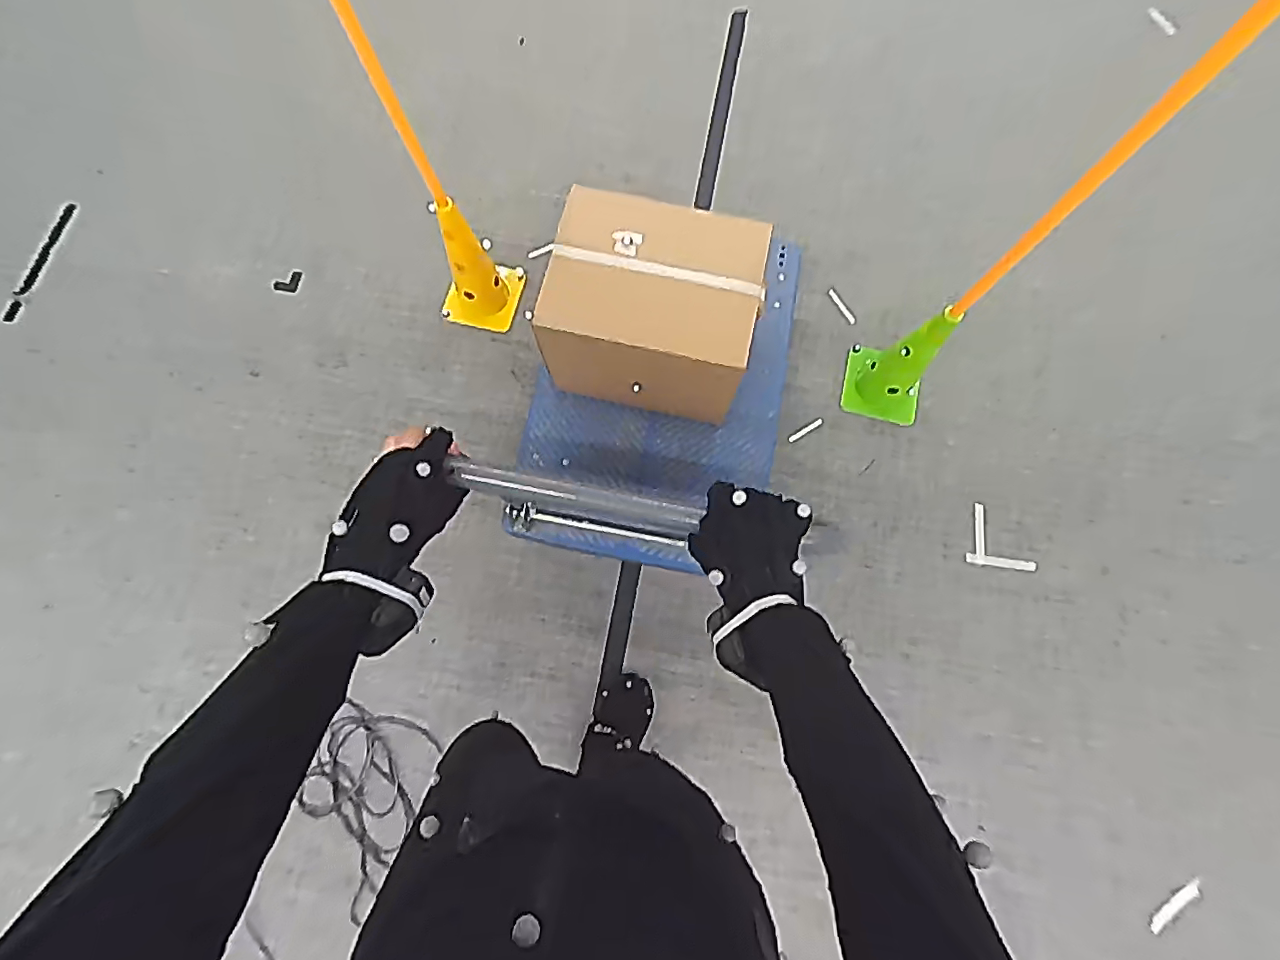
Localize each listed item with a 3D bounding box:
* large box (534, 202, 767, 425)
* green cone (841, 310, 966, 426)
[{"bbox_3d":[0.030,-0.341,1.181,0.408,0.320,0.320,13,76,4],"label":"large box"},{"bbox_3d":[0.663,-0.298,1.317,0.202,0.368,0.200,14,76,2],"label":"green cone"}]
